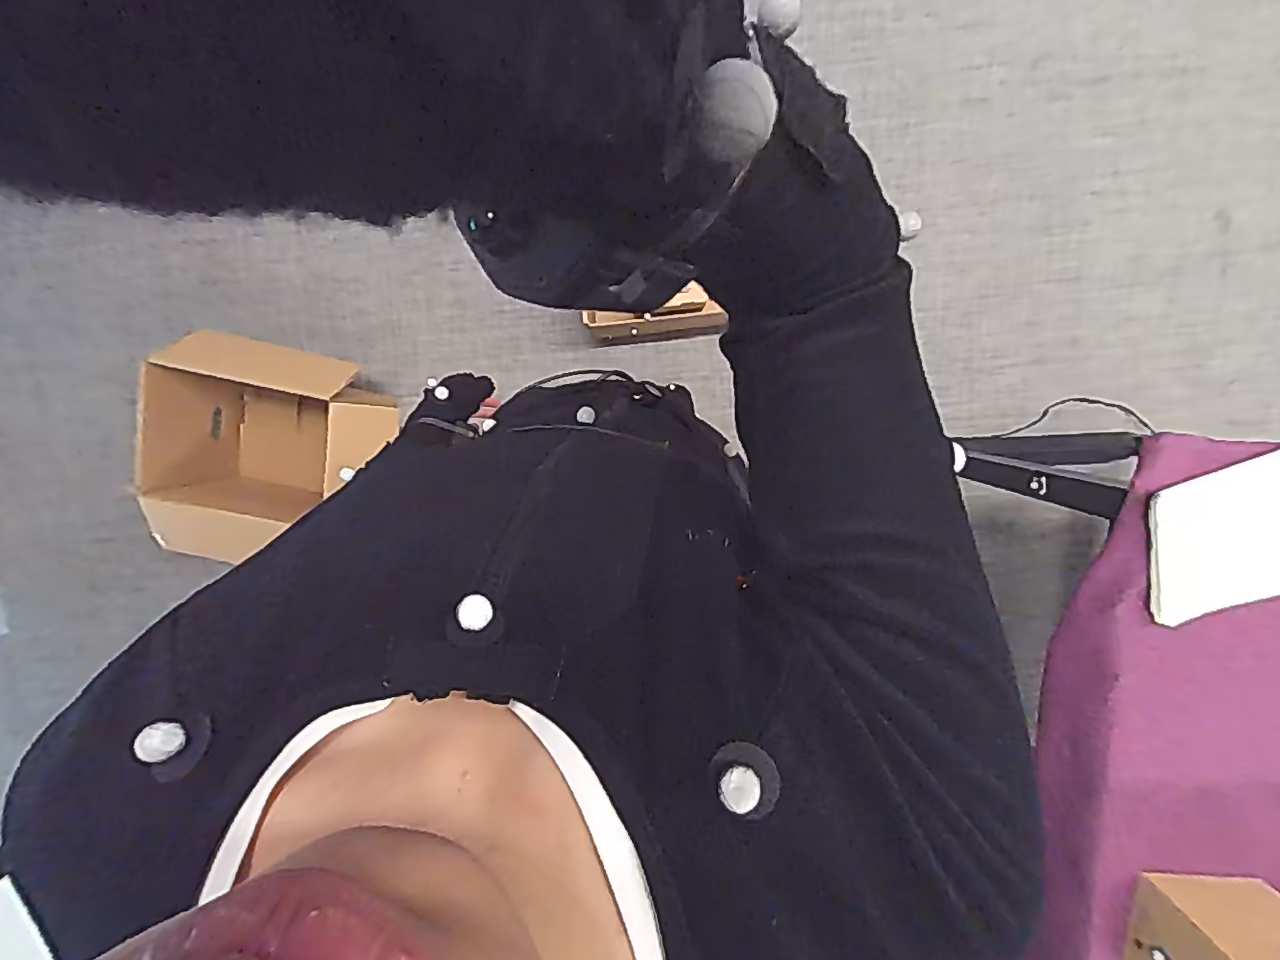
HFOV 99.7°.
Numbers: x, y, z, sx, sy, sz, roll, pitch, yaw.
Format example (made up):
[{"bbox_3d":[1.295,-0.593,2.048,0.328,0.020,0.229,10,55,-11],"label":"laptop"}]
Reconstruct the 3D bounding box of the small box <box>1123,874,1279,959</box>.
[{"bbox_3d":[0.817,0.671,0.725,0.179,0.176,0.168,2,99,2],"label":"small box"}]
